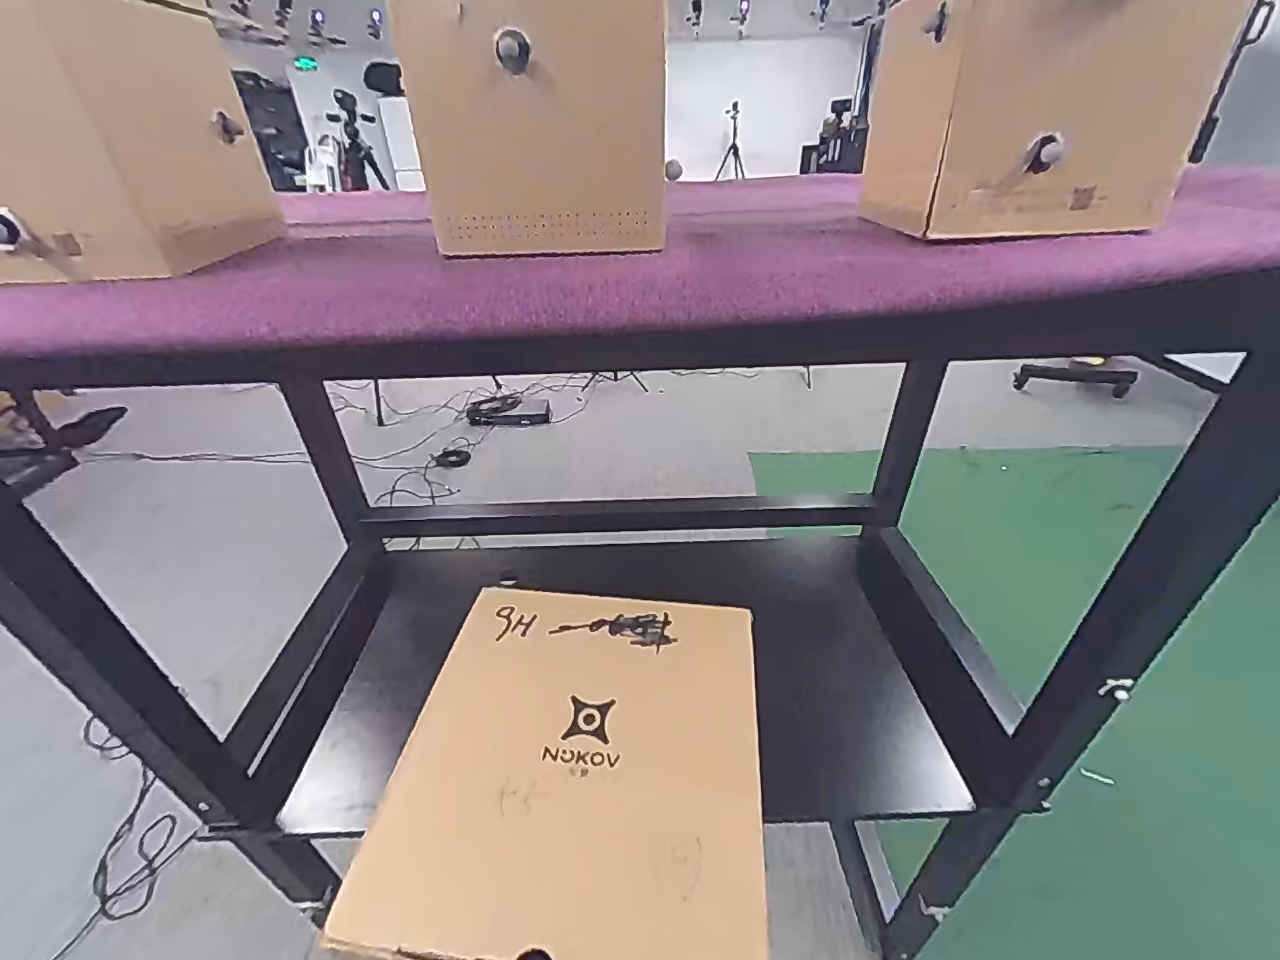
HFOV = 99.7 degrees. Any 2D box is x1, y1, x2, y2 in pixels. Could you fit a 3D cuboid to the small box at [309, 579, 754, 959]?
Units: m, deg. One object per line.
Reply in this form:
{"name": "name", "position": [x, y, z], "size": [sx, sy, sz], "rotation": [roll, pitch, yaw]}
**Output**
{"name": "small box", "position": [-0.028, 0.181, 0.300], "size": [0.168, 0.176, 0.179], "rotation": [3, 36, 7]}

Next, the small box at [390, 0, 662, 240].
{"name": "small box", "position": [-0.073, -0.294, 0.431], "size": [0.179, 0.176, 0.168], "rotation": [-1, 33, 0]}

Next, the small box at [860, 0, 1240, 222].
{"name": "small box", "position": [0.288, -0.303, 0.422], "size": [0.168, 0.176, 0.179], "rotation": [-2, 32, 3]}

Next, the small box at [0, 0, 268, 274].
{"name": "small box", "position": [-0.421, -0.260, 0.403], "size": [0.168, 0.176, 0.179], "rotation": [-5, 35, -2]}
